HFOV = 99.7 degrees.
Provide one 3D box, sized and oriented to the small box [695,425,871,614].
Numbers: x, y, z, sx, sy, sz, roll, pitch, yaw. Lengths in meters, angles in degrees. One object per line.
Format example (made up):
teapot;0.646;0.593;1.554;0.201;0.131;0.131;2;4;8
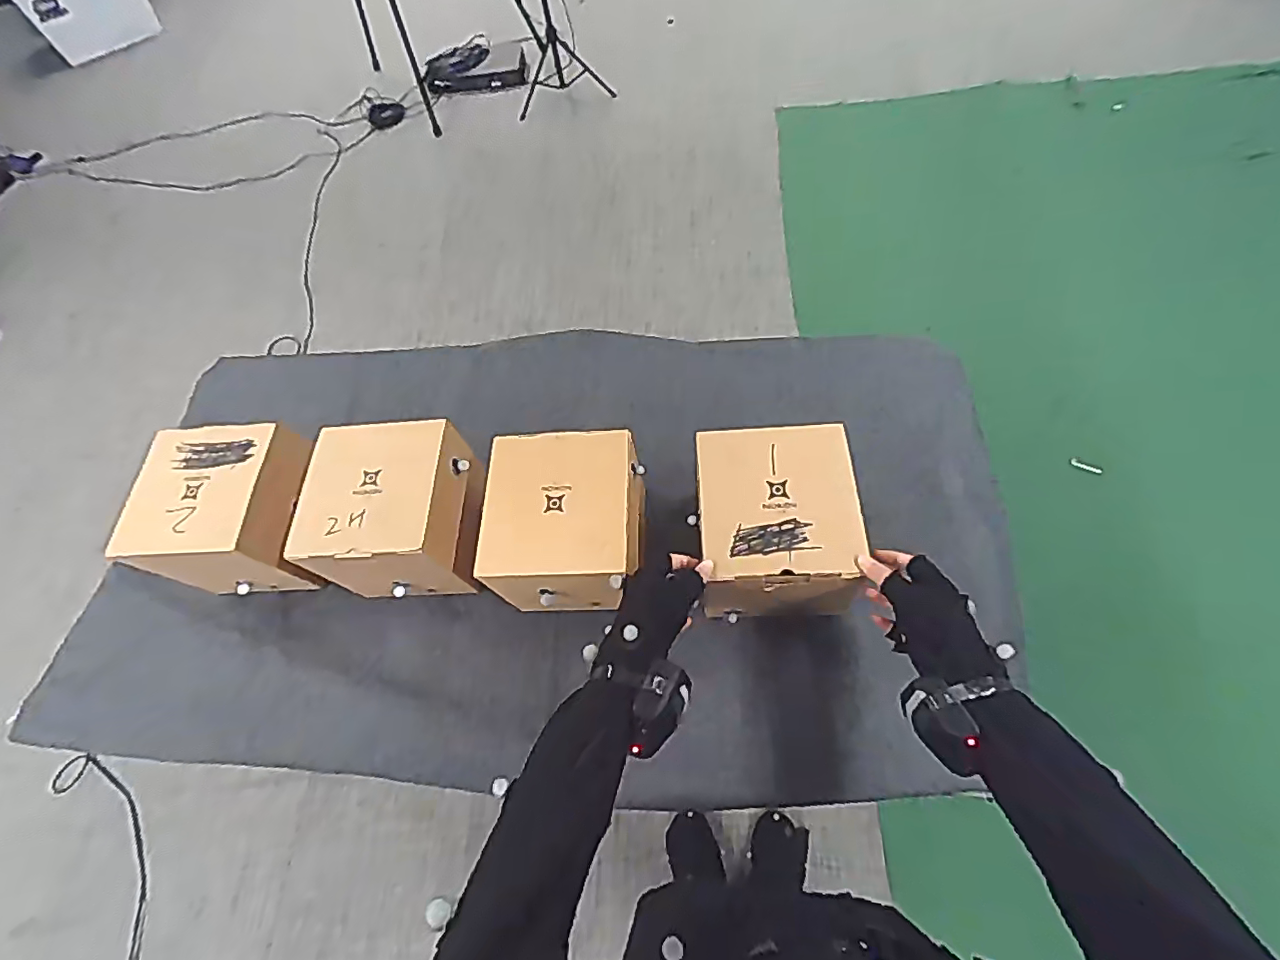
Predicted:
small box;0.153;0.057;0.634;0.168;0.176;0.179;-3;62;6

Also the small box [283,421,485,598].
small box;-0.307;0.044;0.699;0.168;0.176;0.179;-3;63;6

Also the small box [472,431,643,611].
small box;-0.086;0.060;0.665;0.168;0.176;0.179;-3;62;6
